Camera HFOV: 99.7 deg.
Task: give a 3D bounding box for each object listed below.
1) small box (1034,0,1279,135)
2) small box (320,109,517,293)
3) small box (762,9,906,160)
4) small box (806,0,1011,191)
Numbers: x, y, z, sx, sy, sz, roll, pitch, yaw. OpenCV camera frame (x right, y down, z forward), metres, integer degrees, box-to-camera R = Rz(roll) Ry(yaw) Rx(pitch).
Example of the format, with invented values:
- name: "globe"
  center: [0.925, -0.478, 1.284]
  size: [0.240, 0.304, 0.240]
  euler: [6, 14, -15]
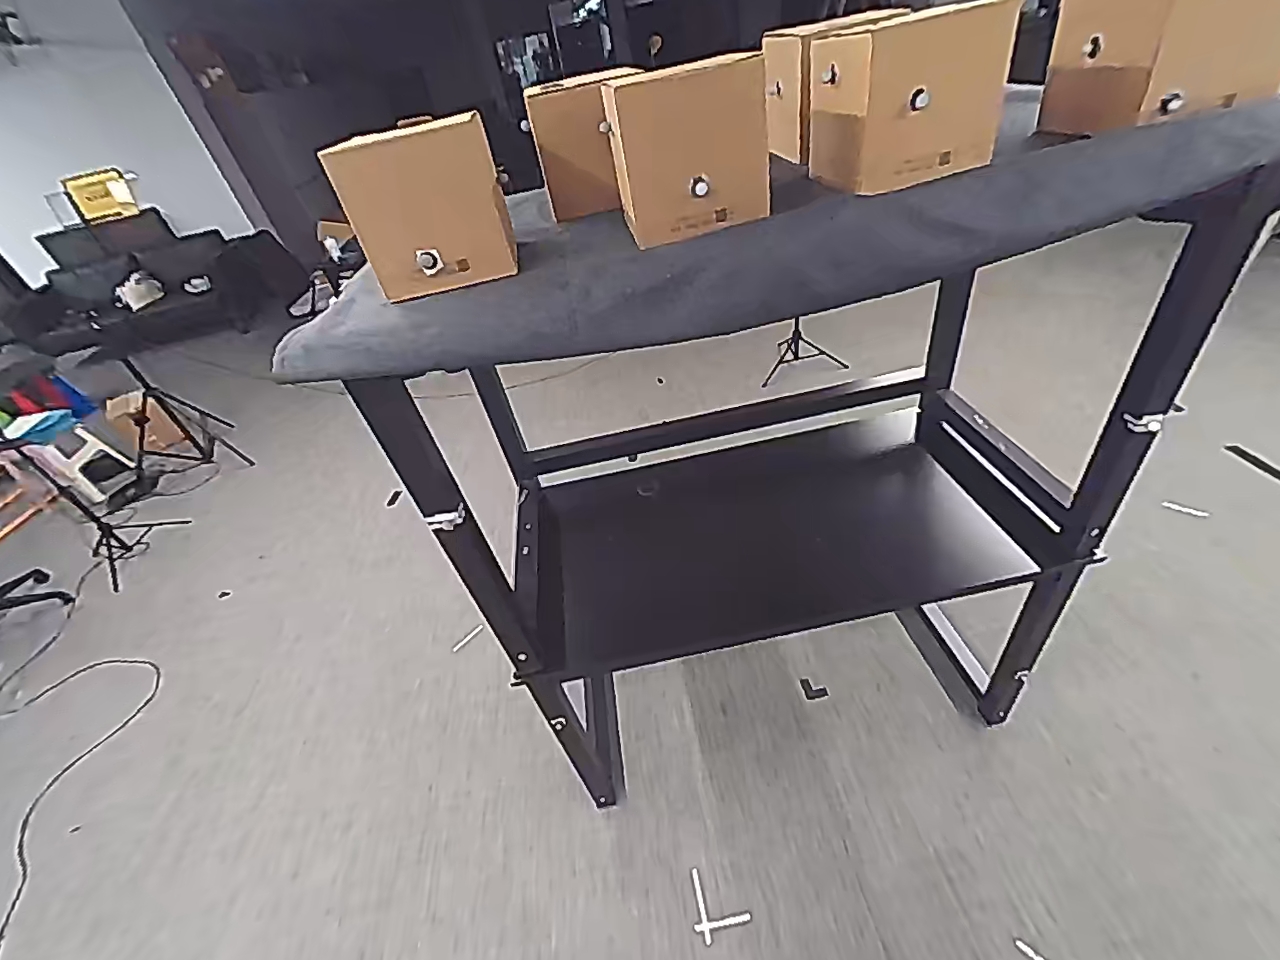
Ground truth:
- name: "small box"
  center: [0.633, -0.537, 0.661]
  size: [0.168, 0.176, 0.179]
  euler: [-11, 35, 3]
- name: "small box"
  center: [-0.262, -0.355, 0.689]
  size: [0.168, 0.176, 0.179]
  euler: [-15, 37, -2]
- name: "small box"
  center: [0.304, -0.639, 0.886]
  size: [0.168, 0.176, 0.179]
  euler: [-13, 38, 0]
- name: "small box"
  center: [0.322, -0.481, 0.687]
  size: [0.168, 0.176, 0.179]
  euler: [-13, 36, 0]
